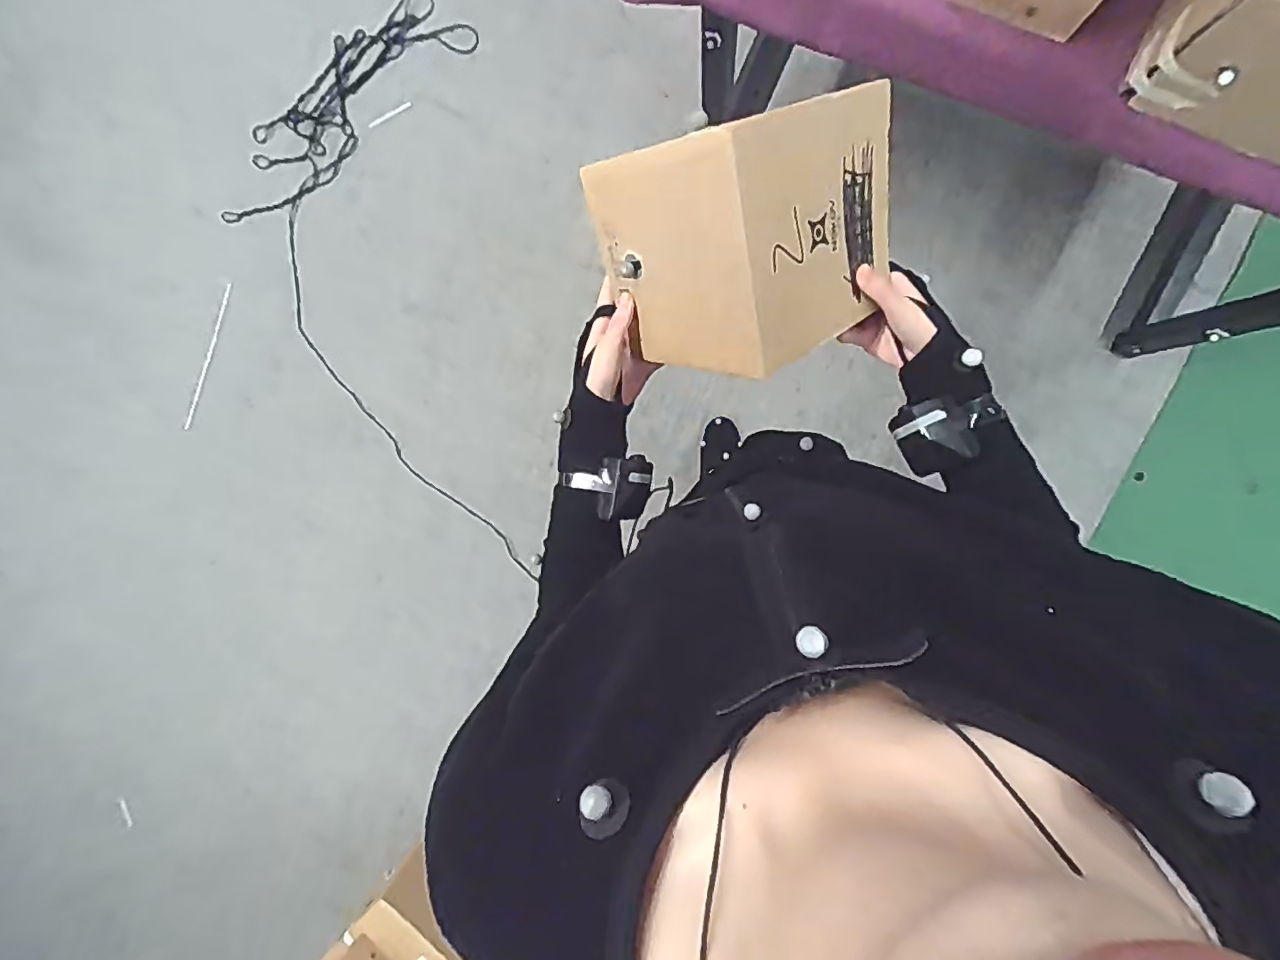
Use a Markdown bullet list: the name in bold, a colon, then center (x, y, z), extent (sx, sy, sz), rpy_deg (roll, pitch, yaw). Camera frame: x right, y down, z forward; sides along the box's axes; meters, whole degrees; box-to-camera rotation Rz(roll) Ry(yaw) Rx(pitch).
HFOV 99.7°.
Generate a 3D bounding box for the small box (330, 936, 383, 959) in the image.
- **small box**: center (-0.725, 1.267, 1.295), extent (0.168, 0.176, 0.179), rpy_deg (43, 99, 3)

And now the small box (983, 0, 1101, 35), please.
- **small box**: center (0.498, -0.663, 0.604), extent (0.168, 0.176, 0.179), rpy_deg (26, 95, 4)
